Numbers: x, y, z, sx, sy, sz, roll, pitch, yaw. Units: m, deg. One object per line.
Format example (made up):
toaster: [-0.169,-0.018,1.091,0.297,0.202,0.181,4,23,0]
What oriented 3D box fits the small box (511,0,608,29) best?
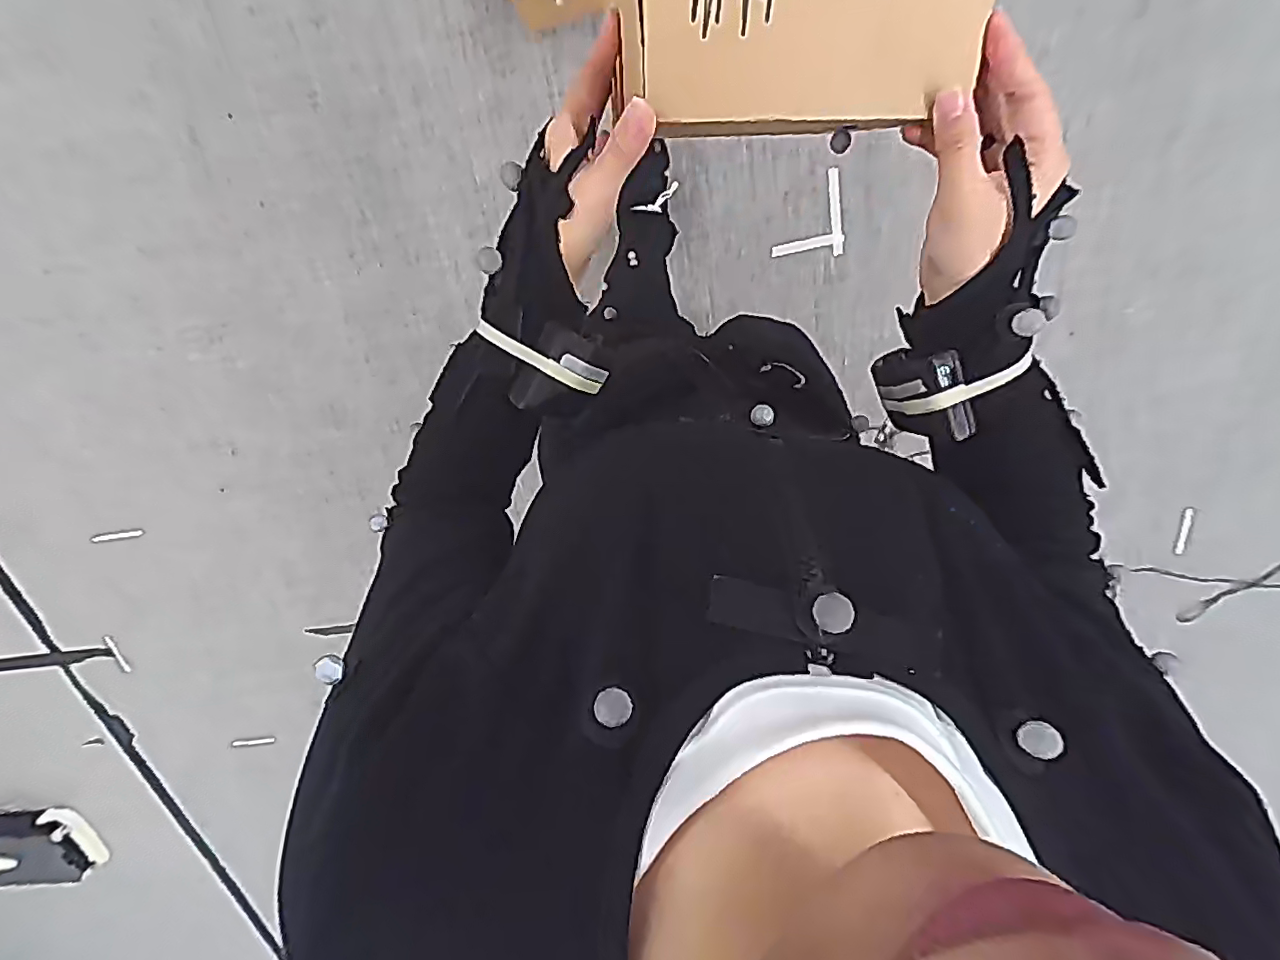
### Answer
small box: [-0.152,-0.942,0.955,0.179,0.176,0.168,-9,113,5]
